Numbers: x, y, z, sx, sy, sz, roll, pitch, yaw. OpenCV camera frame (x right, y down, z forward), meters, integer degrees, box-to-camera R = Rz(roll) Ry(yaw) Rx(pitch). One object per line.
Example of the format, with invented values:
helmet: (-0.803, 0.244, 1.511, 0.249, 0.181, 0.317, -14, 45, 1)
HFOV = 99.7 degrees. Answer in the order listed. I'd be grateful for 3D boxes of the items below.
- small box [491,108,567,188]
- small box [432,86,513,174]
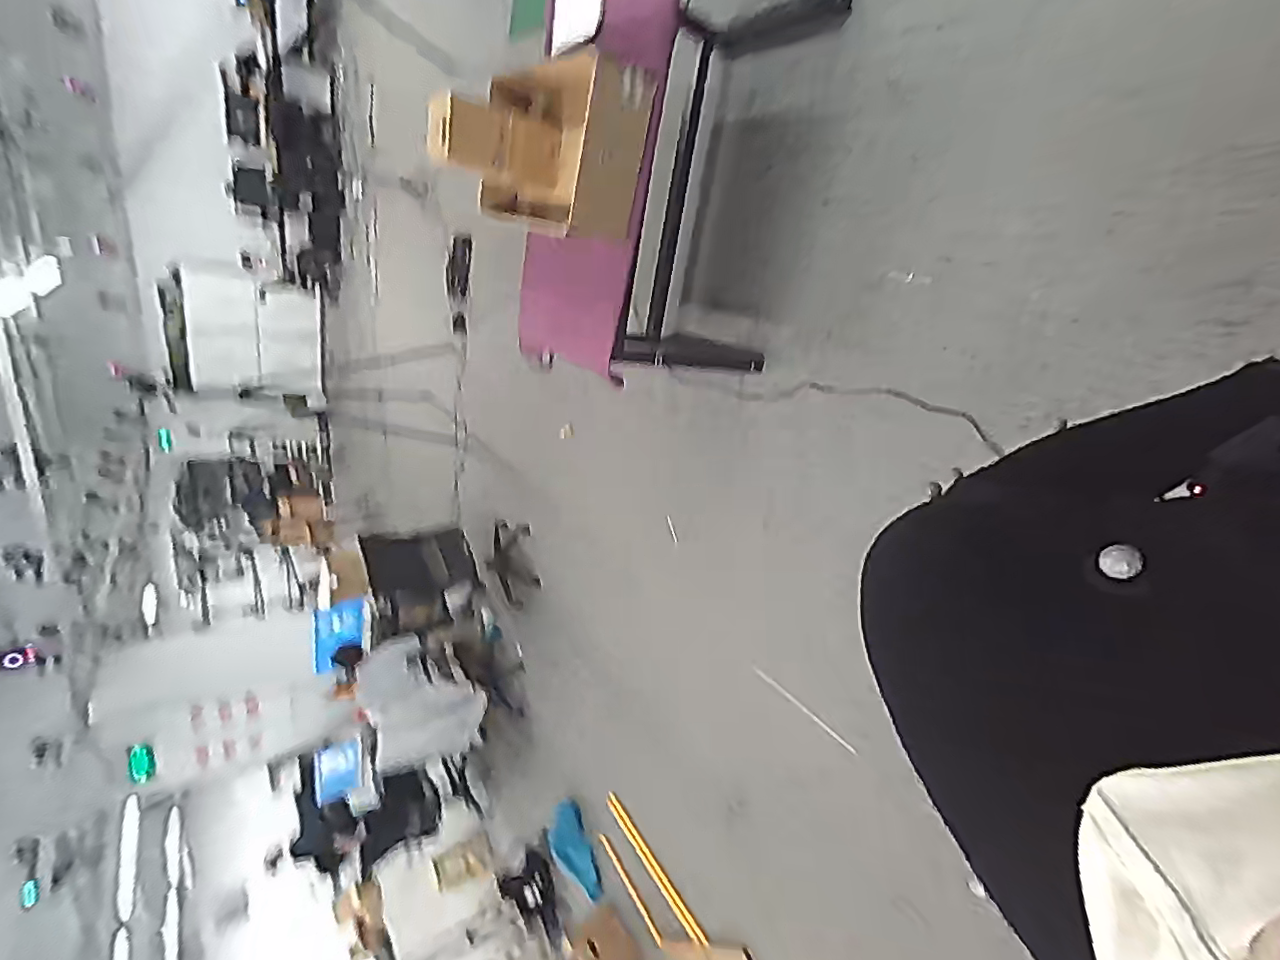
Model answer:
small box: (-0.345, -0.996, 1.637, 0.179, 0.176, 0.168, 32, 117, 44)
small box: (-0.477, -0.988, 1.539, 0.179, 0.176, 0.168, 32, 117, 45)
